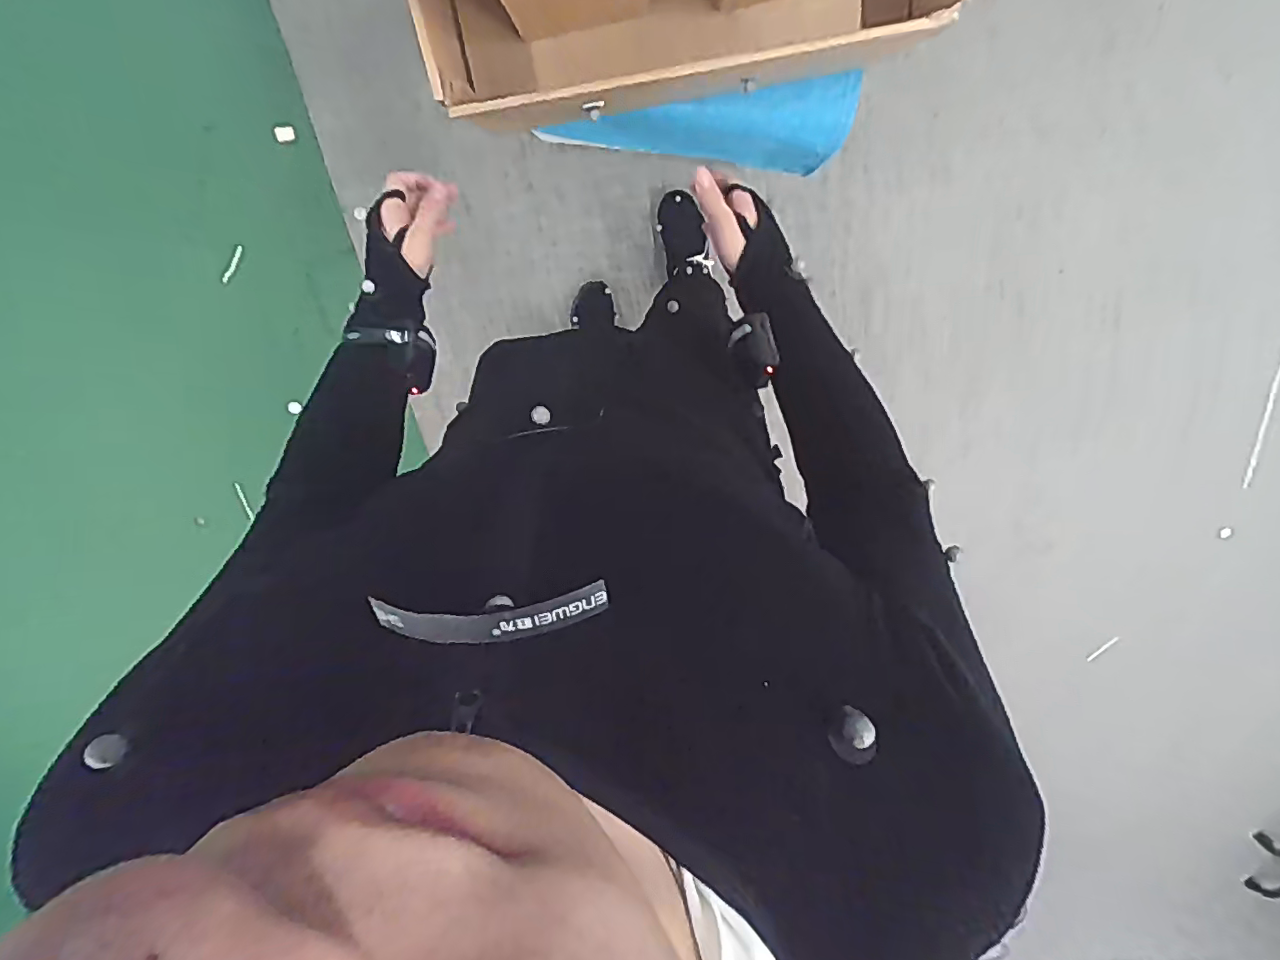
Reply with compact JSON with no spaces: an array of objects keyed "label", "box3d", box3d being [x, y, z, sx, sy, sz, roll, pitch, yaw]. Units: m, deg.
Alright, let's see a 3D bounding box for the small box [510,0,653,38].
[{"label":"small box","box3d":[-0.080,-0.639,0.611,0.179,0.176,0.168,-9,113,4]}]
